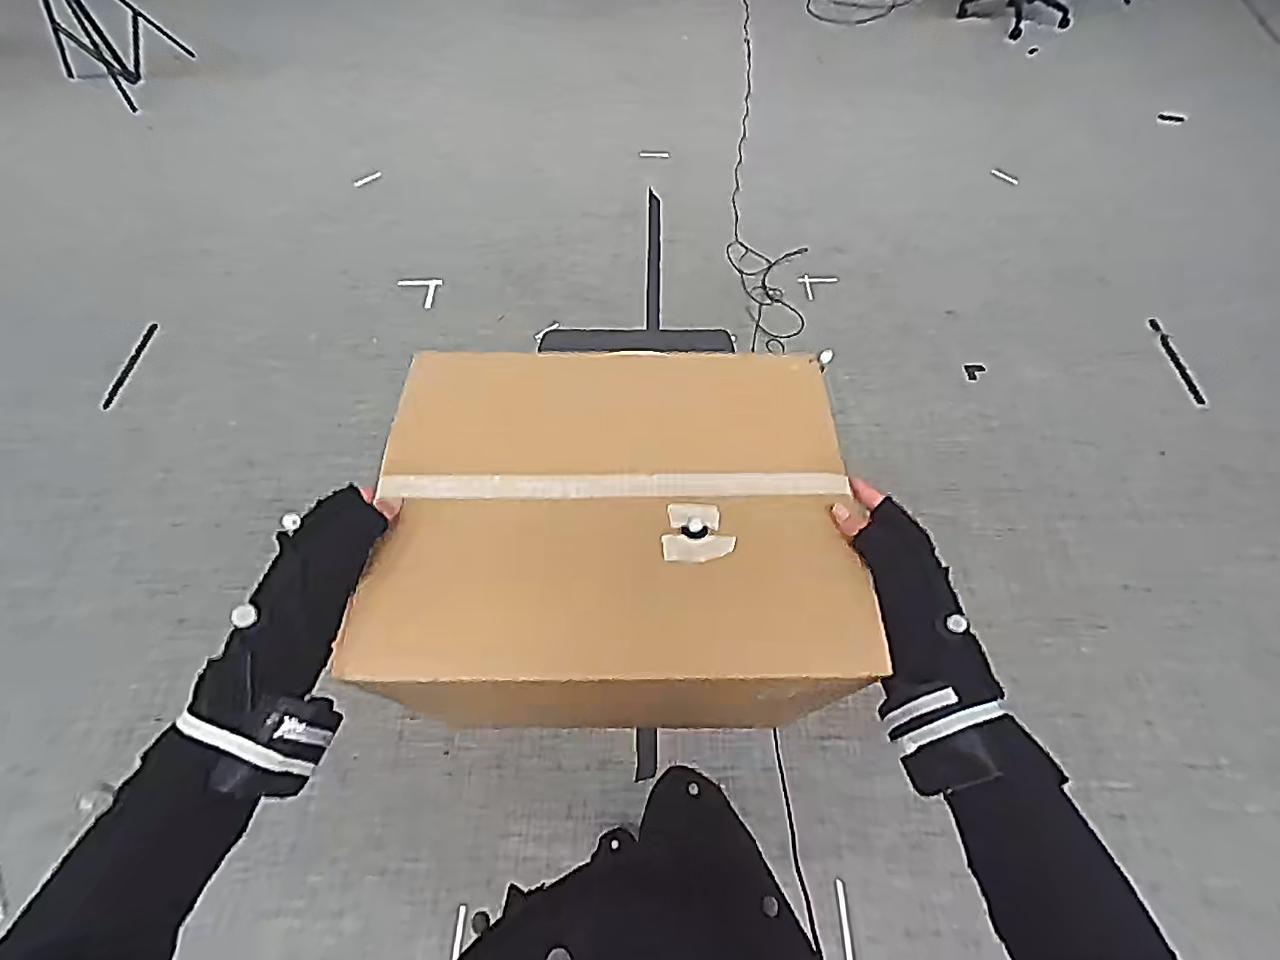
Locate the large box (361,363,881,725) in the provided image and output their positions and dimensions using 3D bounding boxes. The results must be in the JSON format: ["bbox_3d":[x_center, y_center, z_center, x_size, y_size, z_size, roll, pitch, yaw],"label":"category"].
[{"bbox_3d":[-0.018,0.086,0.609,0.408,0.320,0.320,0,60,-1],"label":"large box"}]
